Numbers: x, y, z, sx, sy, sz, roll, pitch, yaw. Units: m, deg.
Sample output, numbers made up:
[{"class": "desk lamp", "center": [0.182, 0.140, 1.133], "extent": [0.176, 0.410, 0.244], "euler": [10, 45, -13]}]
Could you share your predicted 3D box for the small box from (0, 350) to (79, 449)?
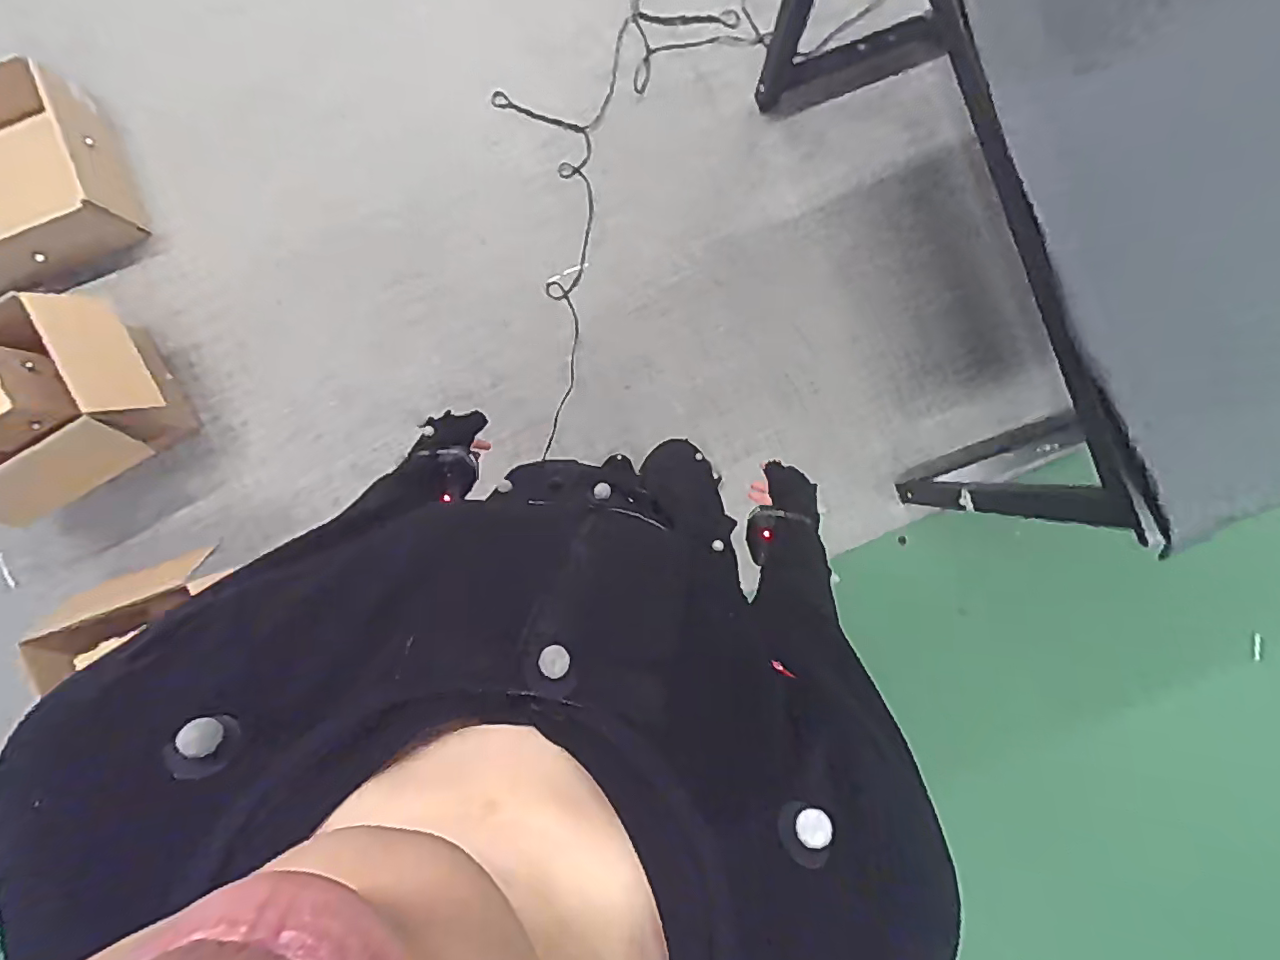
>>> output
[{"class": "small box", "center": [-1.426, -0.181, 1.207], "extent": [0.179, 0.176, 0.168], "euler": [-29, 90, -1]}]
